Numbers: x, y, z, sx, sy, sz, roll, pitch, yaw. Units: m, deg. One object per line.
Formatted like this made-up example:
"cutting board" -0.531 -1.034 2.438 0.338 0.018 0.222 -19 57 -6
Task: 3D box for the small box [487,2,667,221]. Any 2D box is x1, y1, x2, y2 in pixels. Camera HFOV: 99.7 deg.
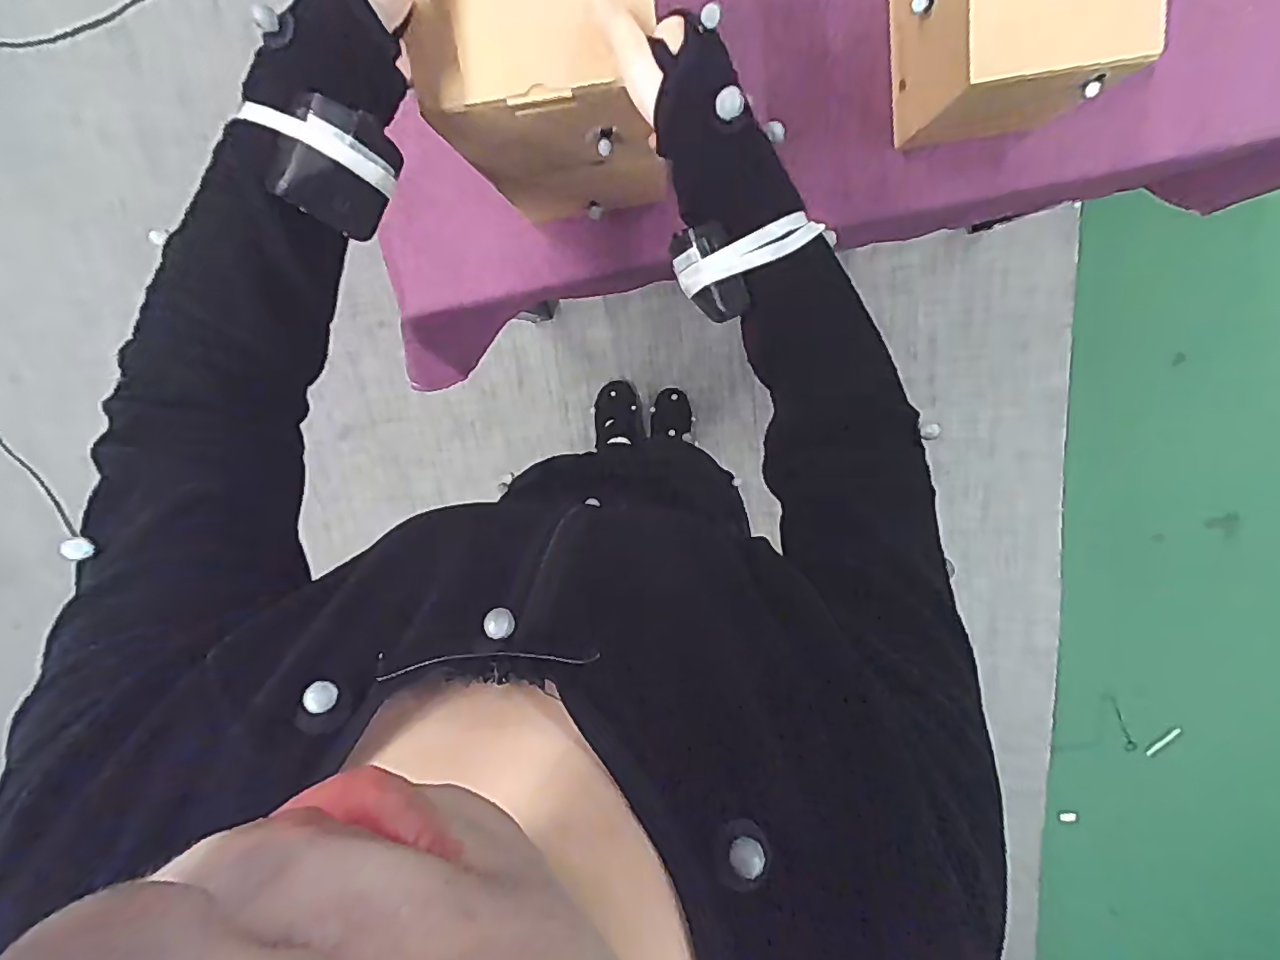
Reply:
"small box" -0.070 -0.393 0.580 0.179 0.176 0.168 -8 103 3

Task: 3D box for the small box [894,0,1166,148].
"small box" 0.376 -0.465 0.551 0.179 0.176 0.168 -7 103 3

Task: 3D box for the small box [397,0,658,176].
"small box" -0.075 -0.355 0.418 0.168 0.176 0.179 -5 103 4
